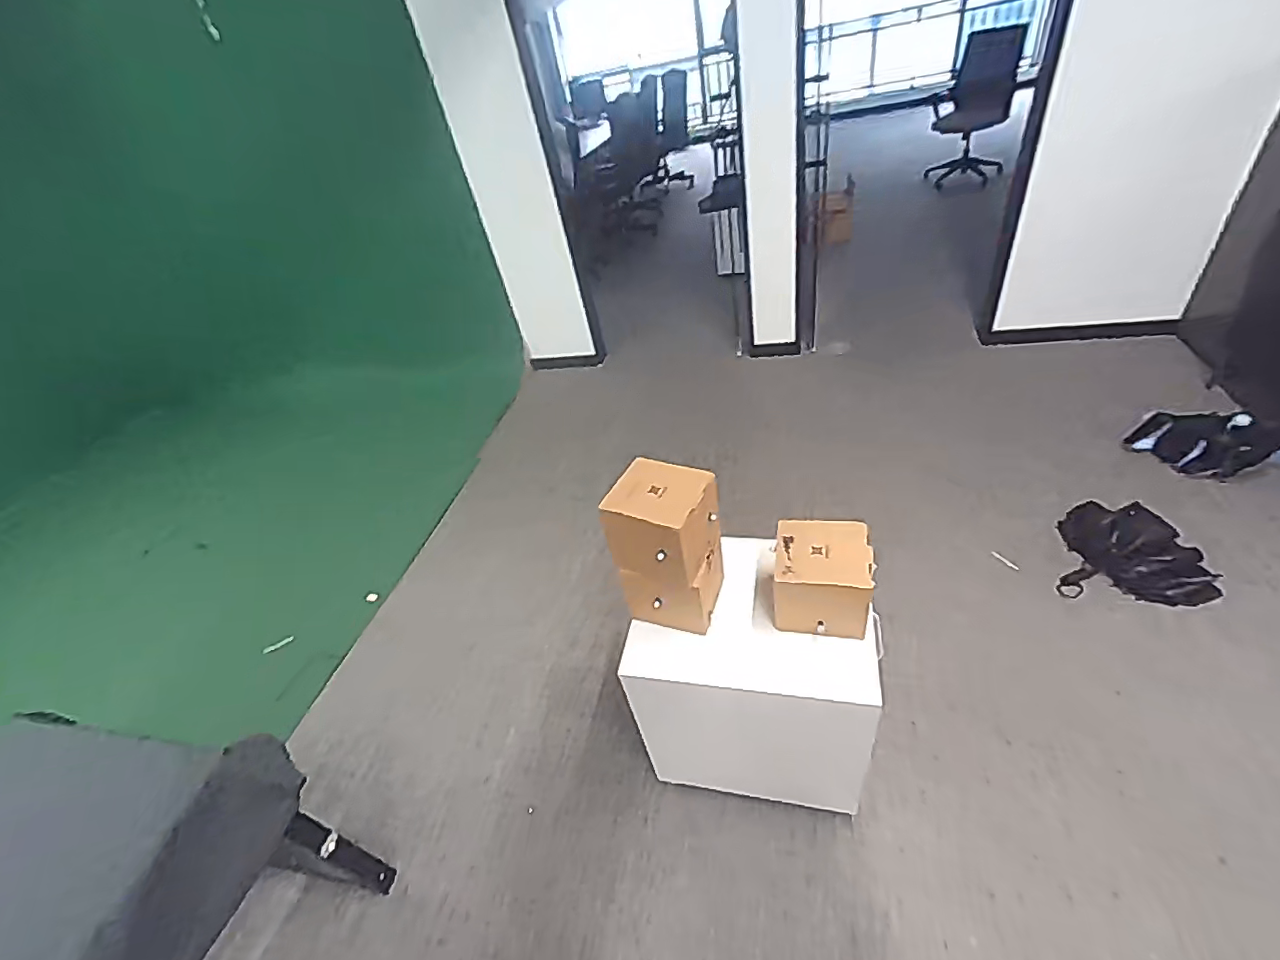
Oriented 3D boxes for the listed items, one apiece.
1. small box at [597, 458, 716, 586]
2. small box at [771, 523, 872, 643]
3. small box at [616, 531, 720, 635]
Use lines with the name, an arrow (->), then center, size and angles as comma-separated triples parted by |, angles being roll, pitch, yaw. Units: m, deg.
small box -> 0.042, 0.084, 1.067 | 0.179, 0.176, 0.168 | 12, 42, 26
small box -> 0.363, 0.210, 1.098 | 0.179, 0.176, 0.168 | 3, 41, 16
small box -> 0.069, 0.209, 1.166 | 0.179, 0.176, 0.168 | 8, 42, 21
